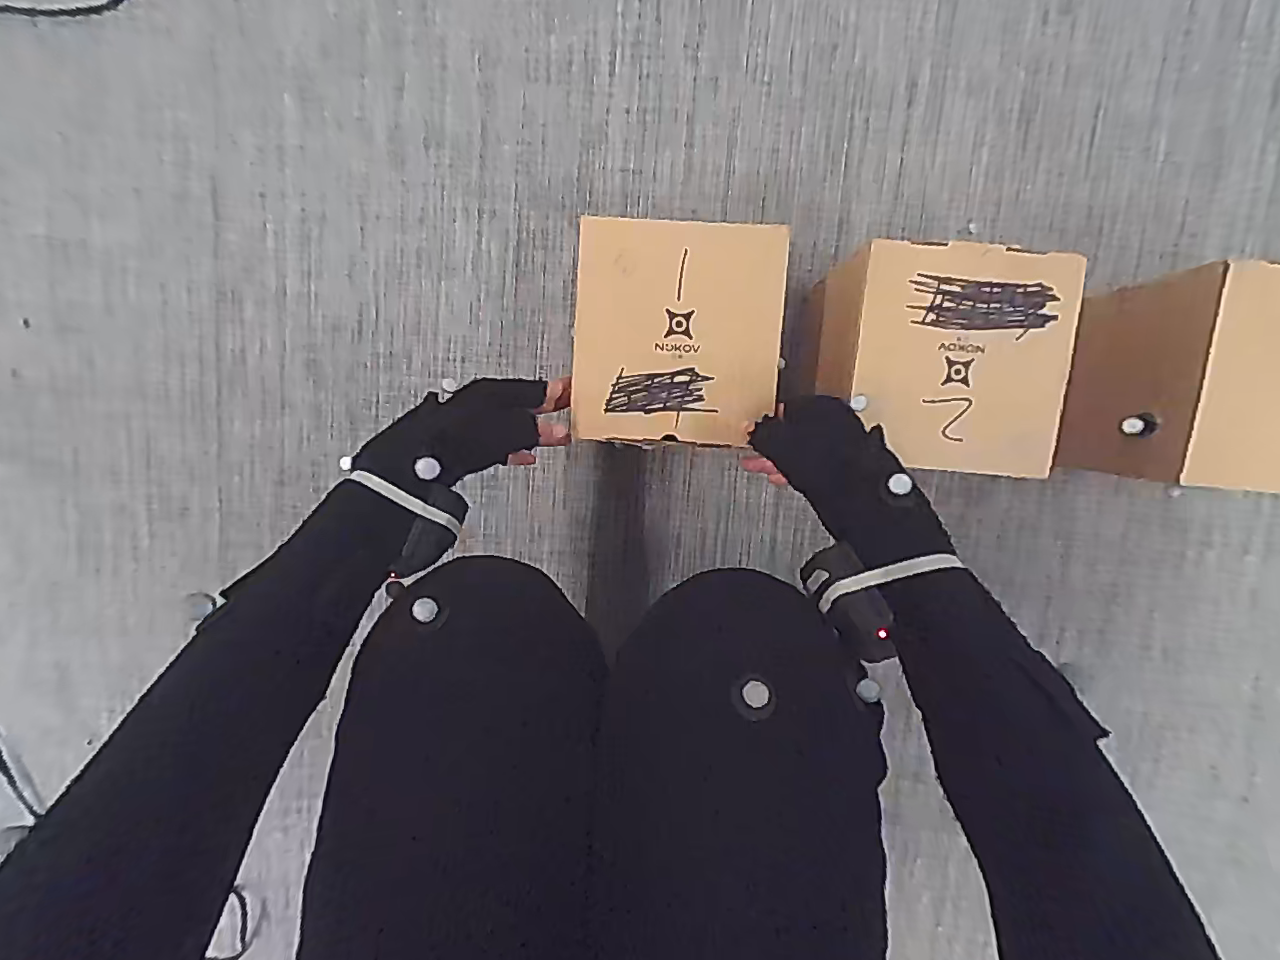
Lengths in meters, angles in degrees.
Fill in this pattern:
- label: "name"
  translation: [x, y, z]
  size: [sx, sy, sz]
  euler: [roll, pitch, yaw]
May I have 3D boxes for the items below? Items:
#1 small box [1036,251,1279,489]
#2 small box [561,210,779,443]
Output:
- label: "small box"
  translation: [0.506, -0.091, 0.494]
  size: [0.168, 0.176, 0.179]
  euler: [5, 97, 2]
- label: "small box"
  translation: [0.028, -0.131, 0.509]
  size: [0.168, 0.176, 0.179]
  euler: [4, 96, 4]
